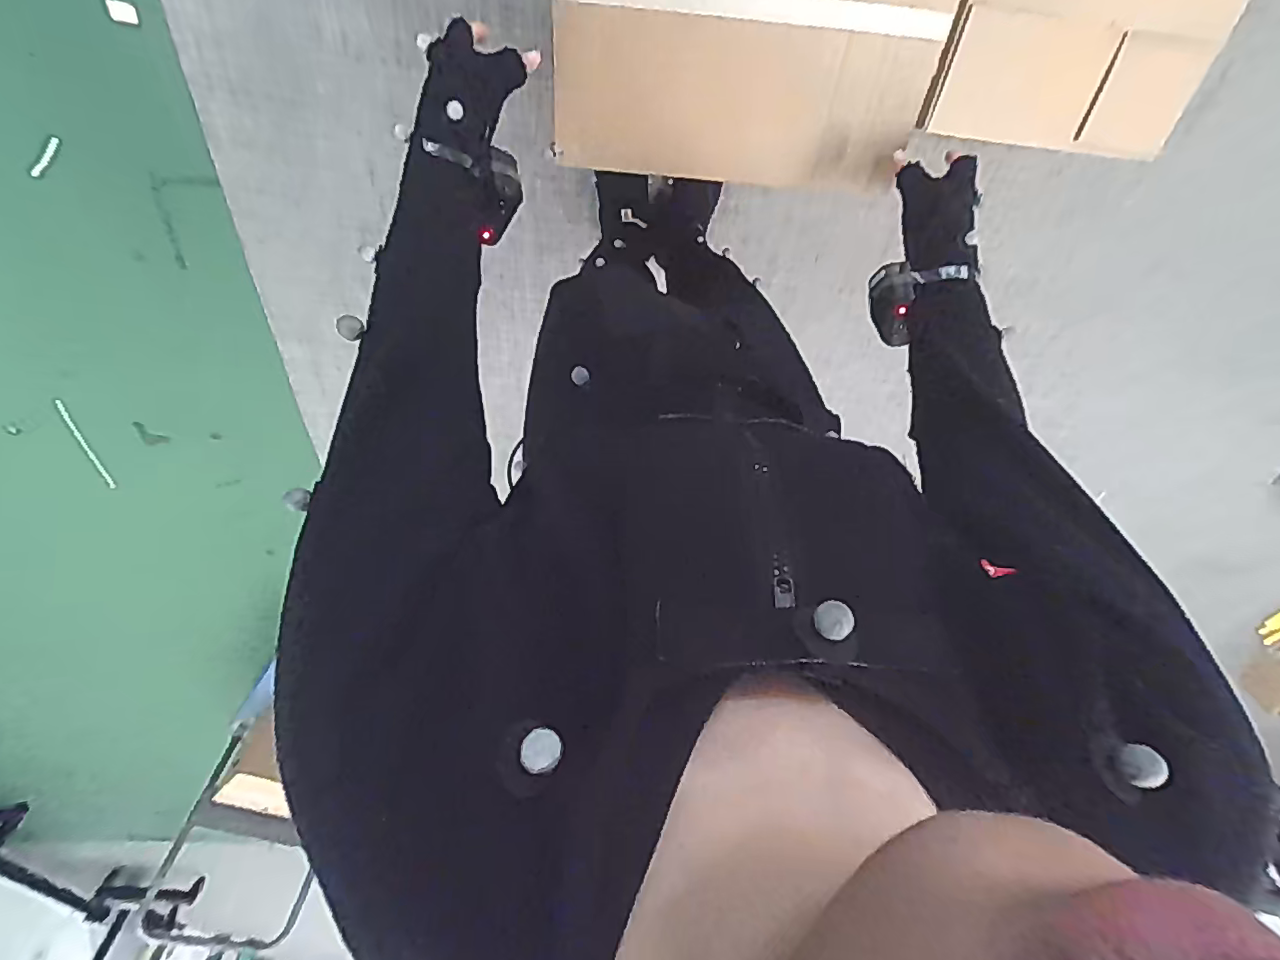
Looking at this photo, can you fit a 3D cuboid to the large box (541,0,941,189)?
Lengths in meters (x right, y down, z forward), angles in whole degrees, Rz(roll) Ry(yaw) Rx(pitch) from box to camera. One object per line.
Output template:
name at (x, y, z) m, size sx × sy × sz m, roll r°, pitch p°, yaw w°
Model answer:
large box at (0.101, -0.574, 0.649) m, size 0.408 × 0.320 × 0.320 m, roll 4°, pitch 131°, yaw -3°
